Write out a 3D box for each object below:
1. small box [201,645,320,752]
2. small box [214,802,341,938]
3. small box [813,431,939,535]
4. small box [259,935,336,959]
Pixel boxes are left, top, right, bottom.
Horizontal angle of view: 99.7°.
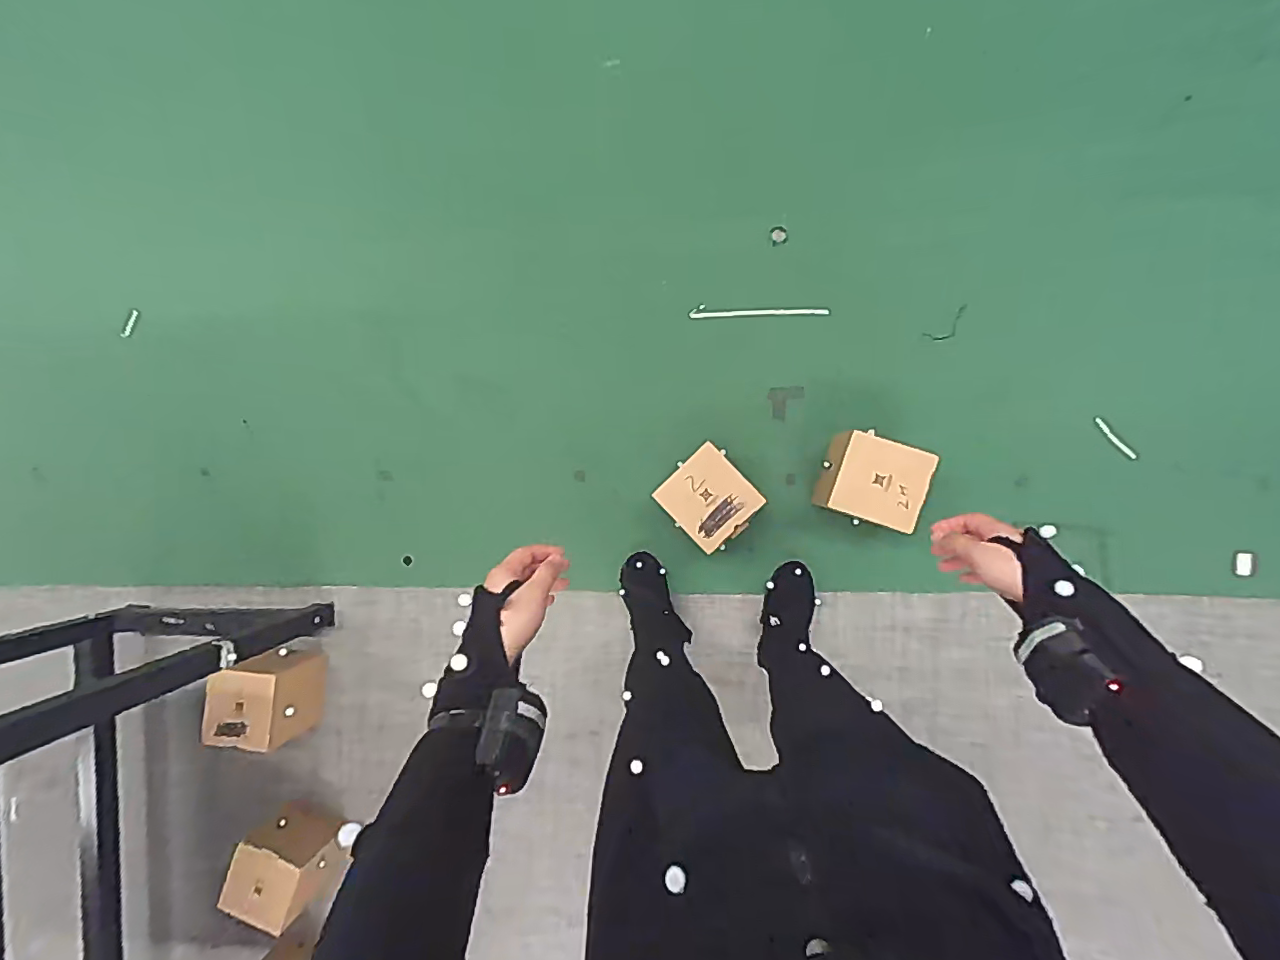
[{"bbox_3d":[-0.897,0.515,1.292,0.168,0.176,0.179,5,91,5],"label":"small box"},{"bbox_3d":[-0.857,0.919,1.295,0.168,0.176,0.179,20,94,6],"label":"small box"},{"bbox_3d":[0.489,0.006,1.152,0.179,0.176,0.168,19,93,4],"label":"small box"},{"bbox_3d":[-0.867,1.266,1.301,0.168,0.176,0.179,12,93,5],"label":"small box"}]
